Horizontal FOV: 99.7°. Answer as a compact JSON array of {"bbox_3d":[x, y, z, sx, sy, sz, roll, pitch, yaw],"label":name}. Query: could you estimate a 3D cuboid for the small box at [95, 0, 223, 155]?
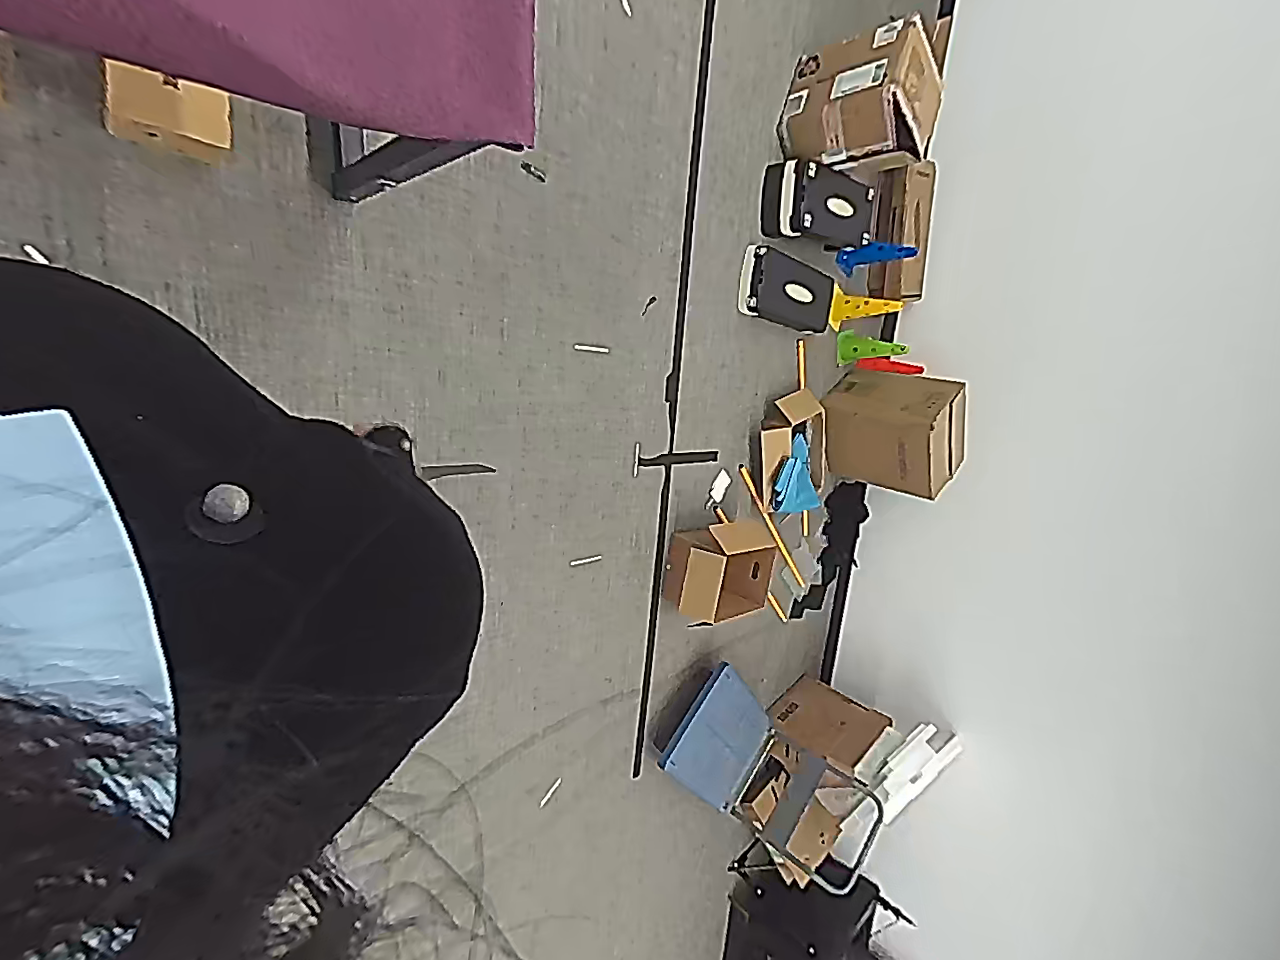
[{"bbox_3d":[-0.874,-0.724,0.985,0.168,0.176,0.179,-3,104,-45],"label":"small box"}]
